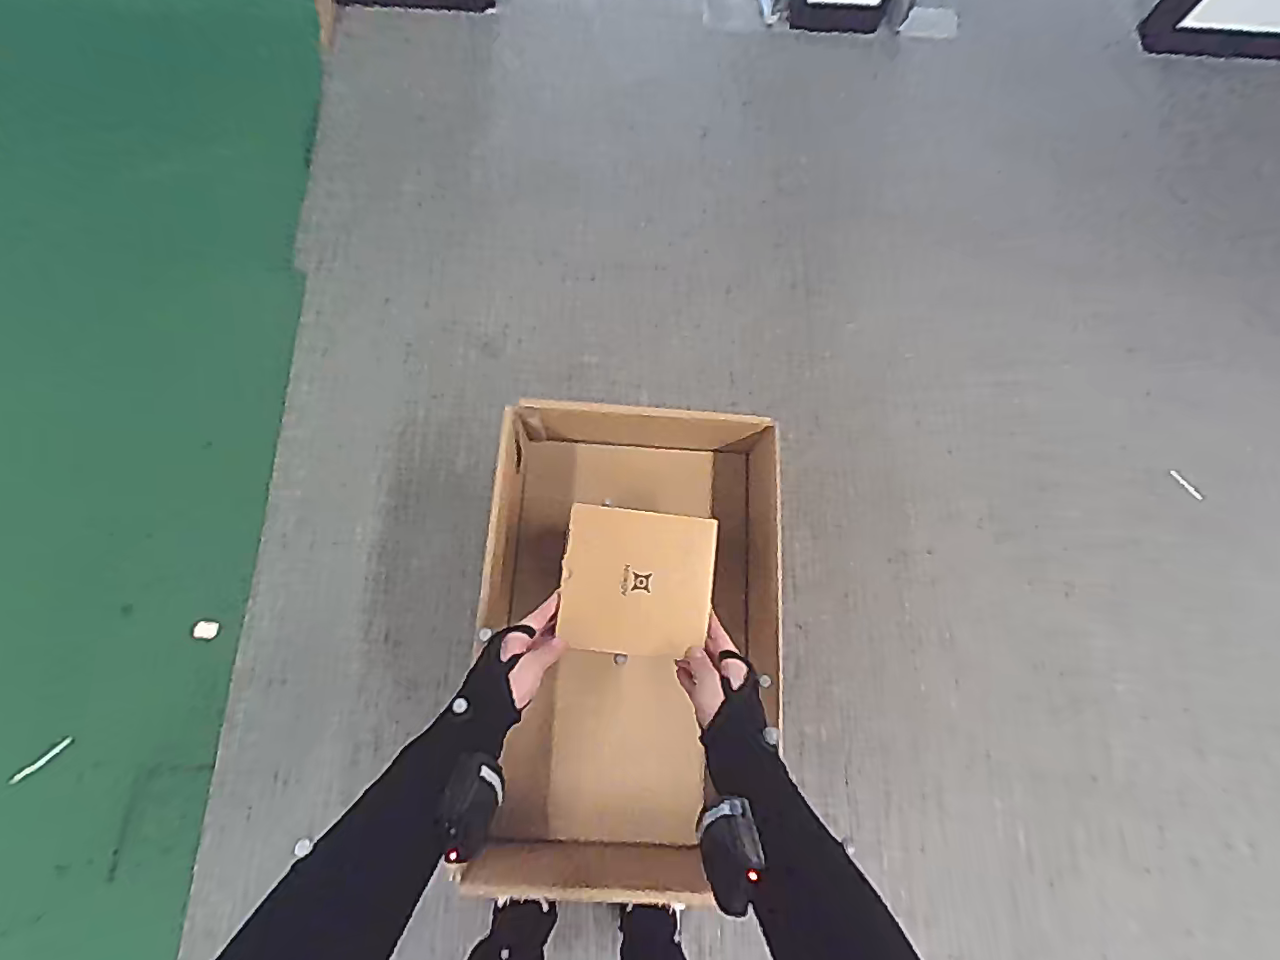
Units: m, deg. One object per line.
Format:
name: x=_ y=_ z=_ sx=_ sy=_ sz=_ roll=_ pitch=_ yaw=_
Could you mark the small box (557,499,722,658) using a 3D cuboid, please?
small box: x=-0.002 y=0.122 z=0.699 sx=0.179 sy=0.176 sz=0.168 roll=7 pitch=82 yaw=-1
